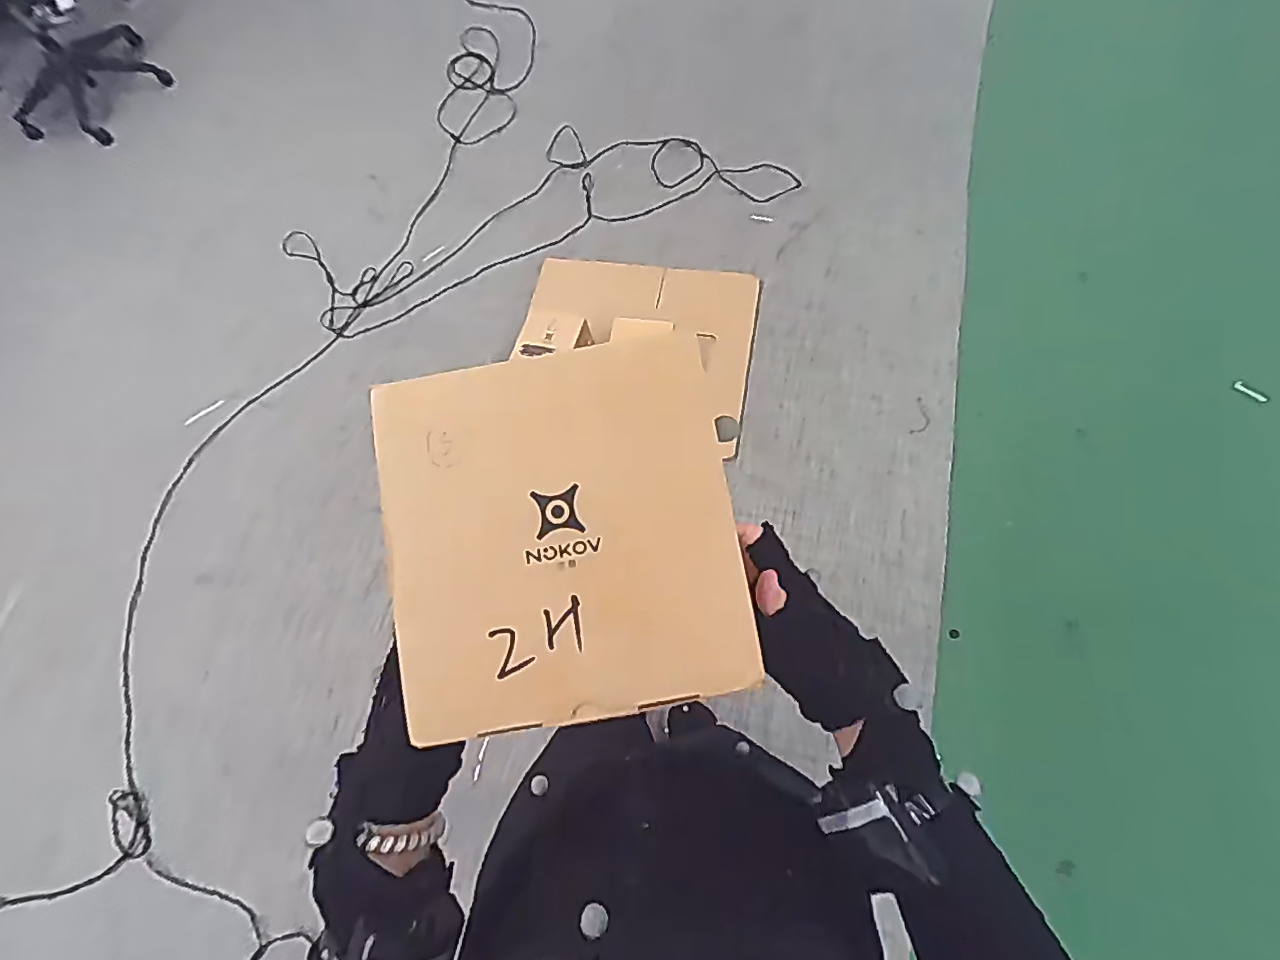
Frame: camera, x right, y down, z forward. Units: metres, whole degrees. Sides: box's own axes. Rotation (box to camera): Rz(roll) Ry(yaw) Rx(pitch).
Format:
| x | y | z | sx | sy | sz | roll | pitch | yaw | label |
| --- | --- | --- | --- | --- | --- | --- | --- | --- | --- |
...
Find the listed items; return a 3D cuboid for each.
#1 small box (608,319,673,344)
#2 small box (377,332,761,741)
| x | y | z | sx | sy | sz | roll | pitch | yaw | label |
| --- | --- | --- | --- | --- | --- | --- | --- | --- | --- |
| 0.000 | -0.318 | 1.497 | 0.168 | 0.176 | 0.179 | 7 | 73 | 8 | small box |
| -0.036 | 0.034 | 0.337 | 0.168 | 0.176 | 0.179 | -10 | 82 | 1 | small box |
